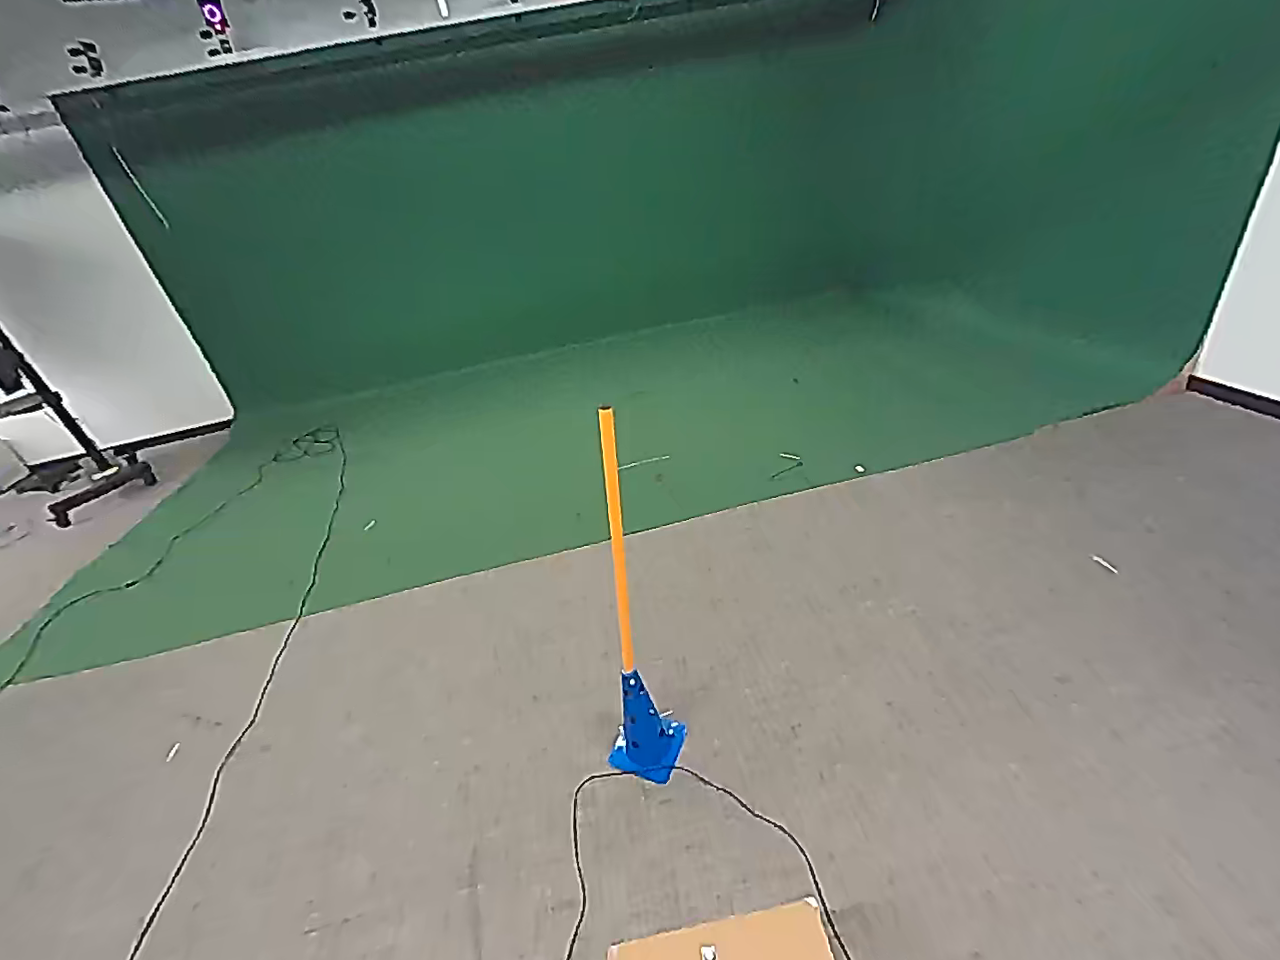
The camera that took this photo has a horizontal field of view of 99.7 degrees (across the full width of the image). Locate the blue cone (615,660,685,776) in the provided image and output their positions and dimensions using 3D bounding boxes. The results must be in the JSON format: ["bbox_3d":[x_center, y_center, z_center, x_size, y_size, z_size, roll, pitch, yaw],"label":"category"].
[{"bbox_3d":[0.006,0.664,1.577,0.192,0.380,0.193,5,33,23],"label":"blue cone"}]
